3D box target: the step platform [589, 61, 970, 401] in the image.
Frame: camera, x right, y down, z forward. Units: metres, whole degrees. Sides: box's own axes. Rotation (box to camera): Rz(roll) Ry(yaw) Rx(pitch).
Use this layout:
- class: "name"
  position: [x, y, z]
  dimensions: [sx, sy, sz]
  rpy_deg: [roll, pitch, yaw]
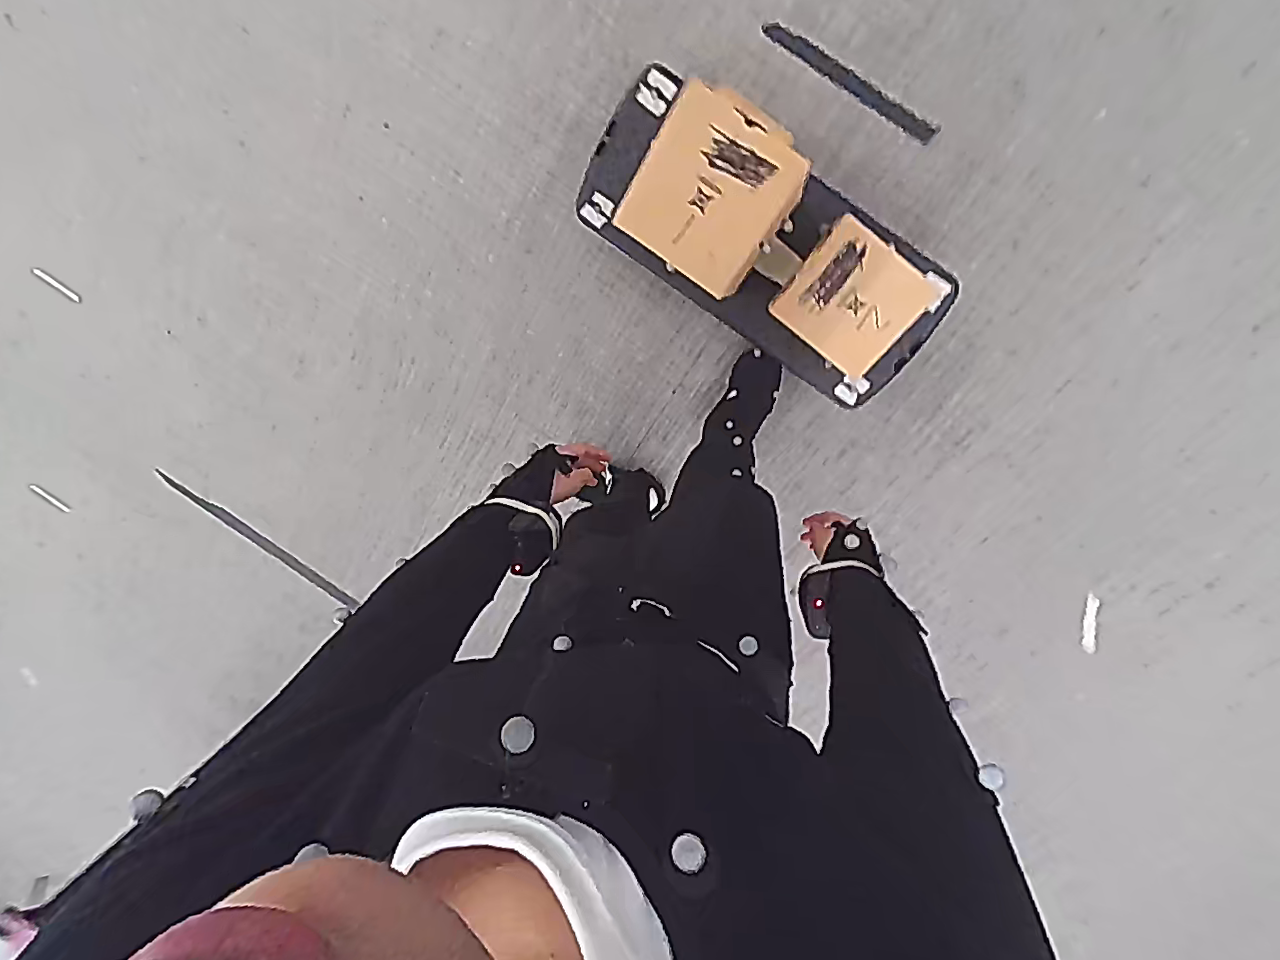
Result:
- class: "step platform"
  position: [0.246, -0.442, 1.015]
  dimensions: [0.684, 0.204, 0.286]
  rpy_deg: [35, 114, -1]

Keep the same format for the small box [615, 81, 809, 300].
- class: "small box"
  position: [0.096, -0.363, 0.710]
  dimensions: [0.168, 0.176, 0.179]
  rpy_deg: [37, 115, -1]
